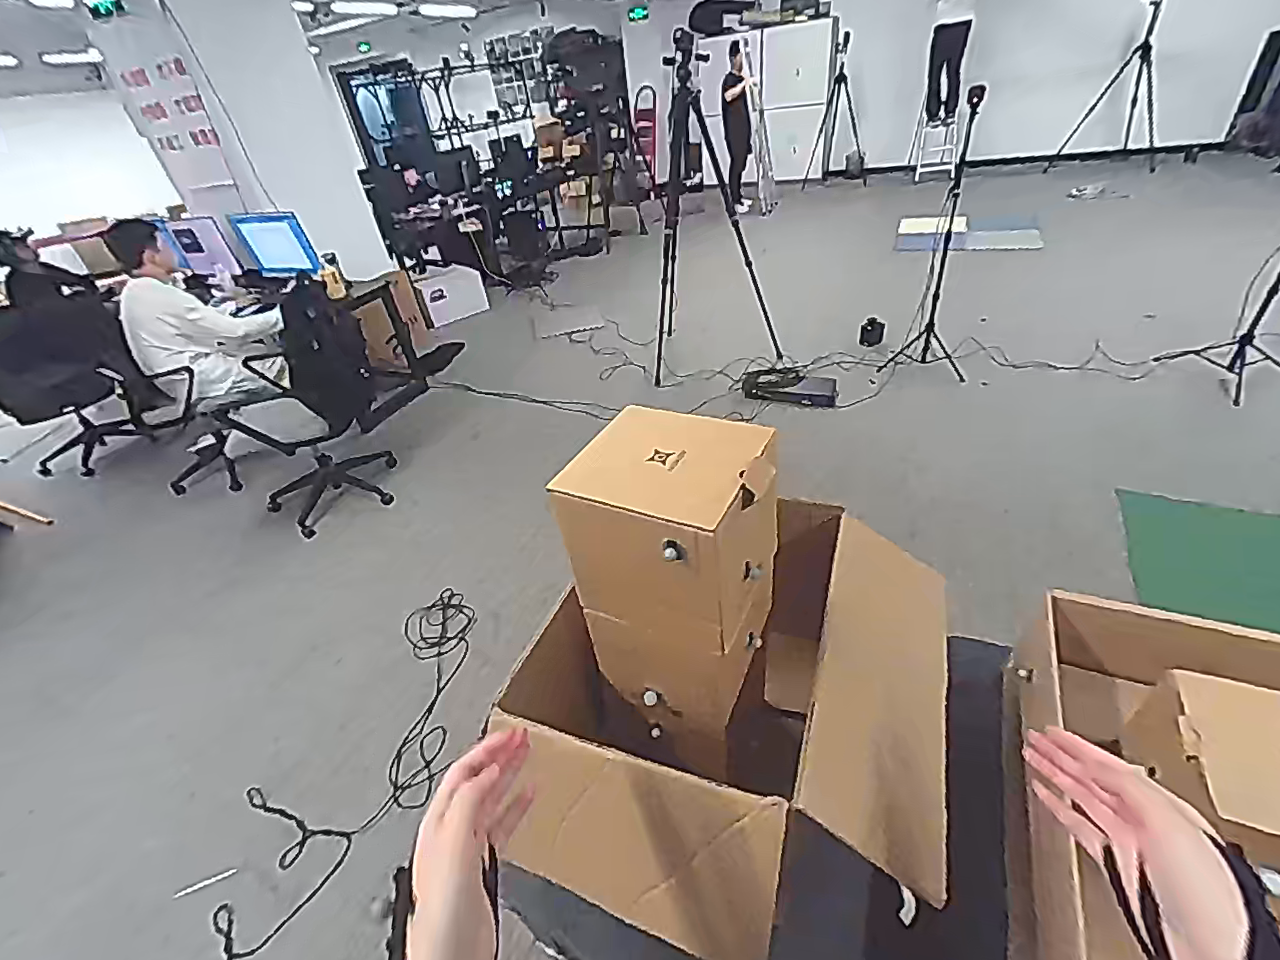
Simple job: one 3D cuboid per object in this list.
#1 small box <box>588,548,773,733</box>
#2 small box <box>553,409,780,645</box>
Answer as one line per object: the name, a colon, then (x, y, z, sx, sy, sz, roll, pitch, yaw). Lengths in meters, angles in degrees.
small box: (0.058, 0.172, 0.674, 0.168, 0.176, 0.179, 13, 43, 26)
small box: (0.037, 0.046, 0.576, 0.179, 0.176, 0.168, 14, 42, 26)
